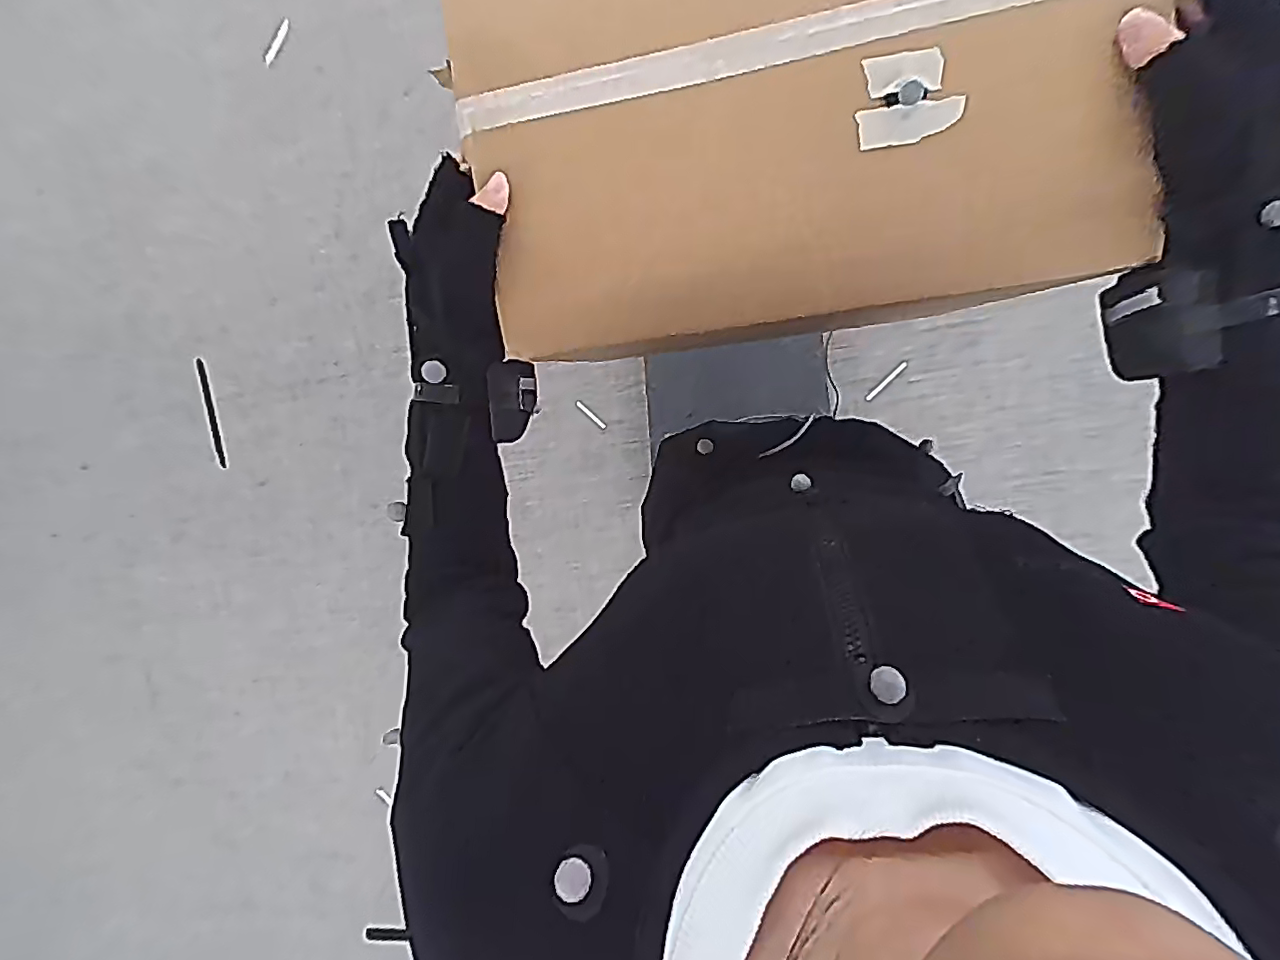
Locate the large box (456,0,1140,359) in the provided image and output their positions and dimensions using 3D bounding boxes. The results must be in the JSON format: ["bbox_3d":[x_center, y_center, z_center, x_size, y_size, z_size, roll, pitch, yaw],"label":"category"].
[{"bbox_3d":[0.103,-0.295,0.478,0.408,0.320,0.320,-7,101,9],"label":"large box"}]
